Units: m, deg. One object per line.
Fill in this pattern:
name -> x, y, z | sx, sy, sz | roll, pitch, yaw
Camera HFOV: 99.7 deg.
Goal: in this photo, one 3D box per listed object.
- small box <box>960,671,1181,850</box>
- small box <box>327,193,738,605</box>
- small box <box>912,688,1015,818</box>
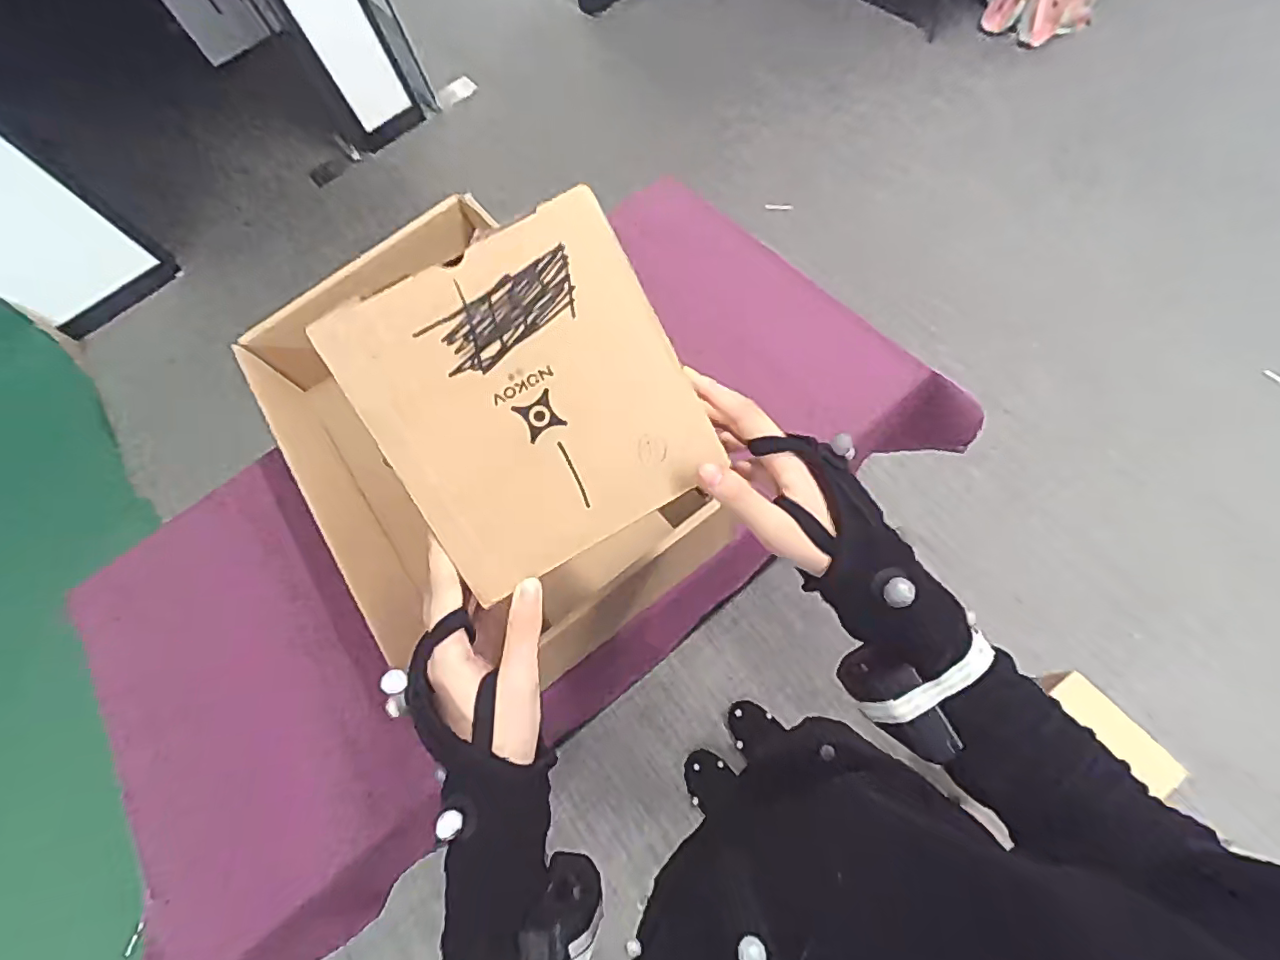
small box -> 0.650, 0.429, 0.846 | 0.168, 0.176, 0.179 | -37, 66, -7
small box -> -0.064, -0.050, 0.371 | 0.168, 0.176, 0.179 | -29, 101, -4
small box -> 0.707, 0.567, 1.141 | 0.179, 0.176, 0.168 | -43, 67, -10
